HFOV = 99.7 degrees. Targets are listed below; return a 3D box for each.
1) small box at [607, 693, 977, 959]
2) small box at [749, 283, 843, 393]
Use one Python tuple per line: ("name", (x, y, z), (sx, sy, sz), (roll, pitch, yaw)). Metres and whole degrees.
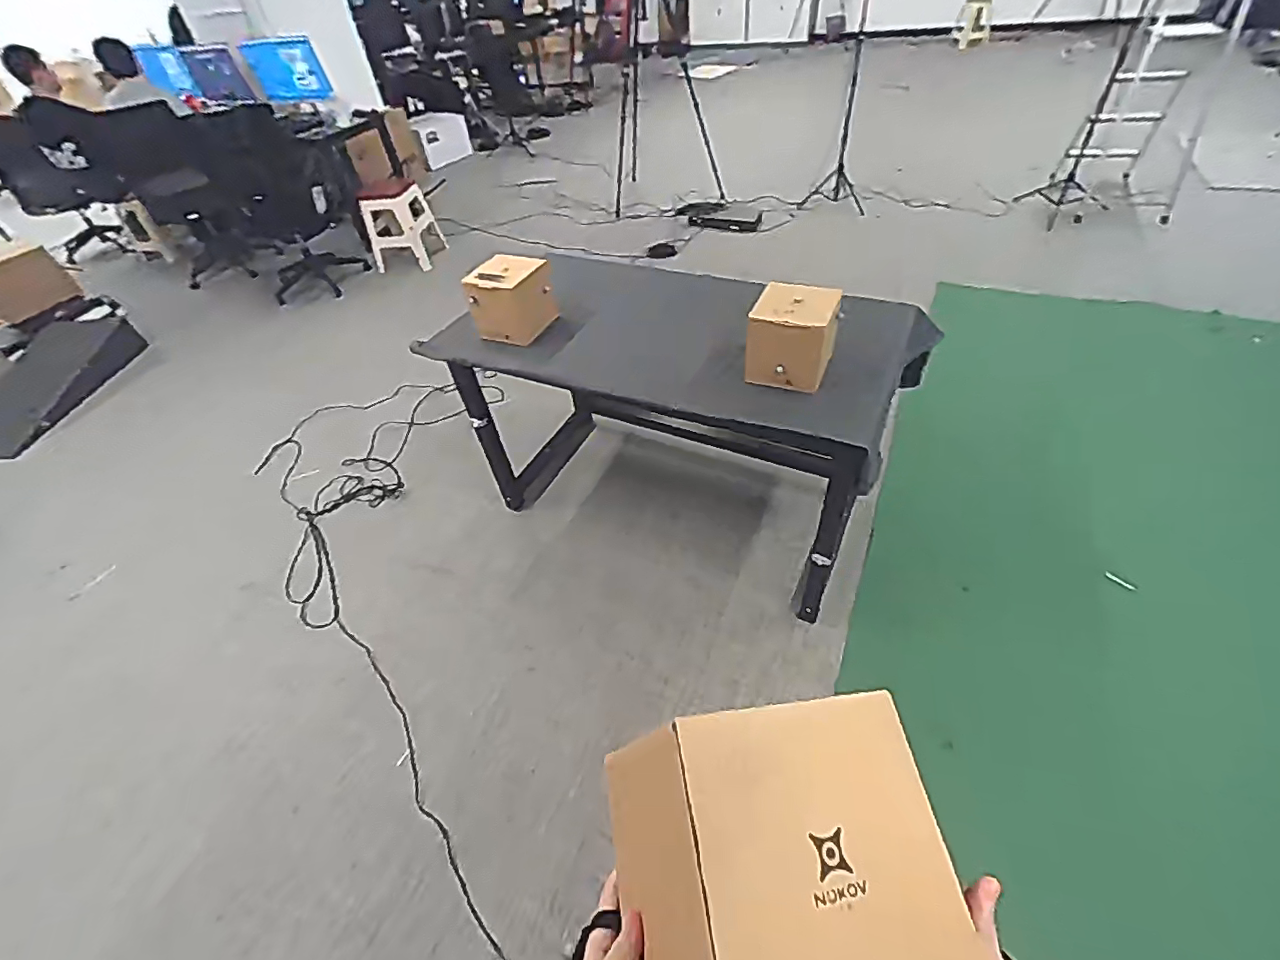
("small box", (0.082, 0.264, 0.378), (0.168, 0.176, 0.179), (0, 60, -20))
("small box", (0.351, -0.326, 1.234), (0.168, 0.176, 0.179), (14, 49, 23))
